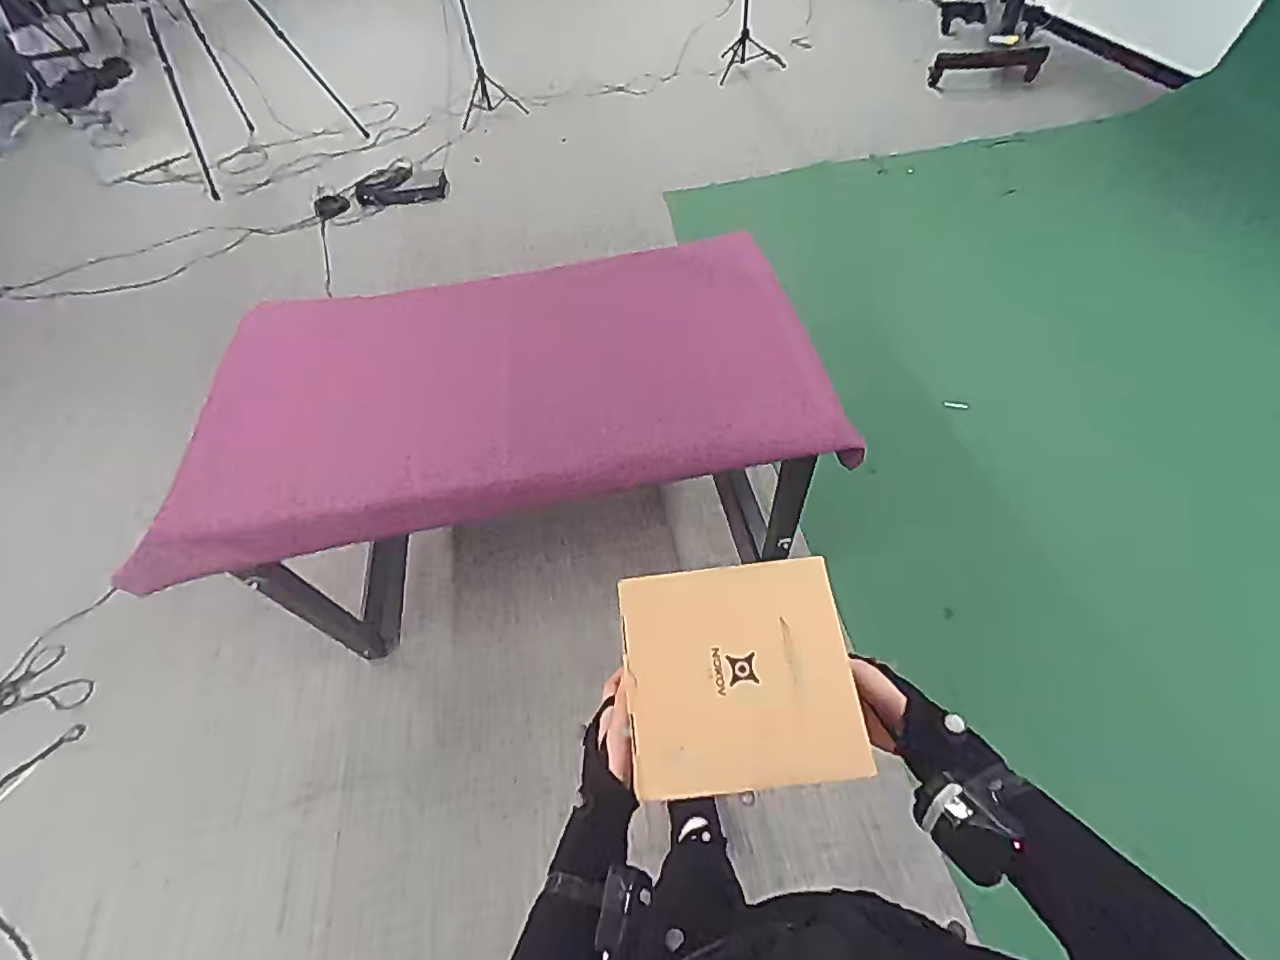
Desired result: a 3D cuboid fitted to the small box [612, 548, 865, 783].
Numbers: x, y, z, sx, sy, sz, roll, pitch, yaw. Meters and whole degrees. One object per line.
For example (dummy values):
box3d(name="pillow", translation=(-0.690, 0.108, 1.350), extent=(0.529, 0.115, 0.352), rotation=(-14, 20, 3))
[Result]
box3d(name="small box", translation=(0.075, 0.171, 0.492), extent=(0.179, 0.176, 0.168), rotation=(-6, 66, 1))
